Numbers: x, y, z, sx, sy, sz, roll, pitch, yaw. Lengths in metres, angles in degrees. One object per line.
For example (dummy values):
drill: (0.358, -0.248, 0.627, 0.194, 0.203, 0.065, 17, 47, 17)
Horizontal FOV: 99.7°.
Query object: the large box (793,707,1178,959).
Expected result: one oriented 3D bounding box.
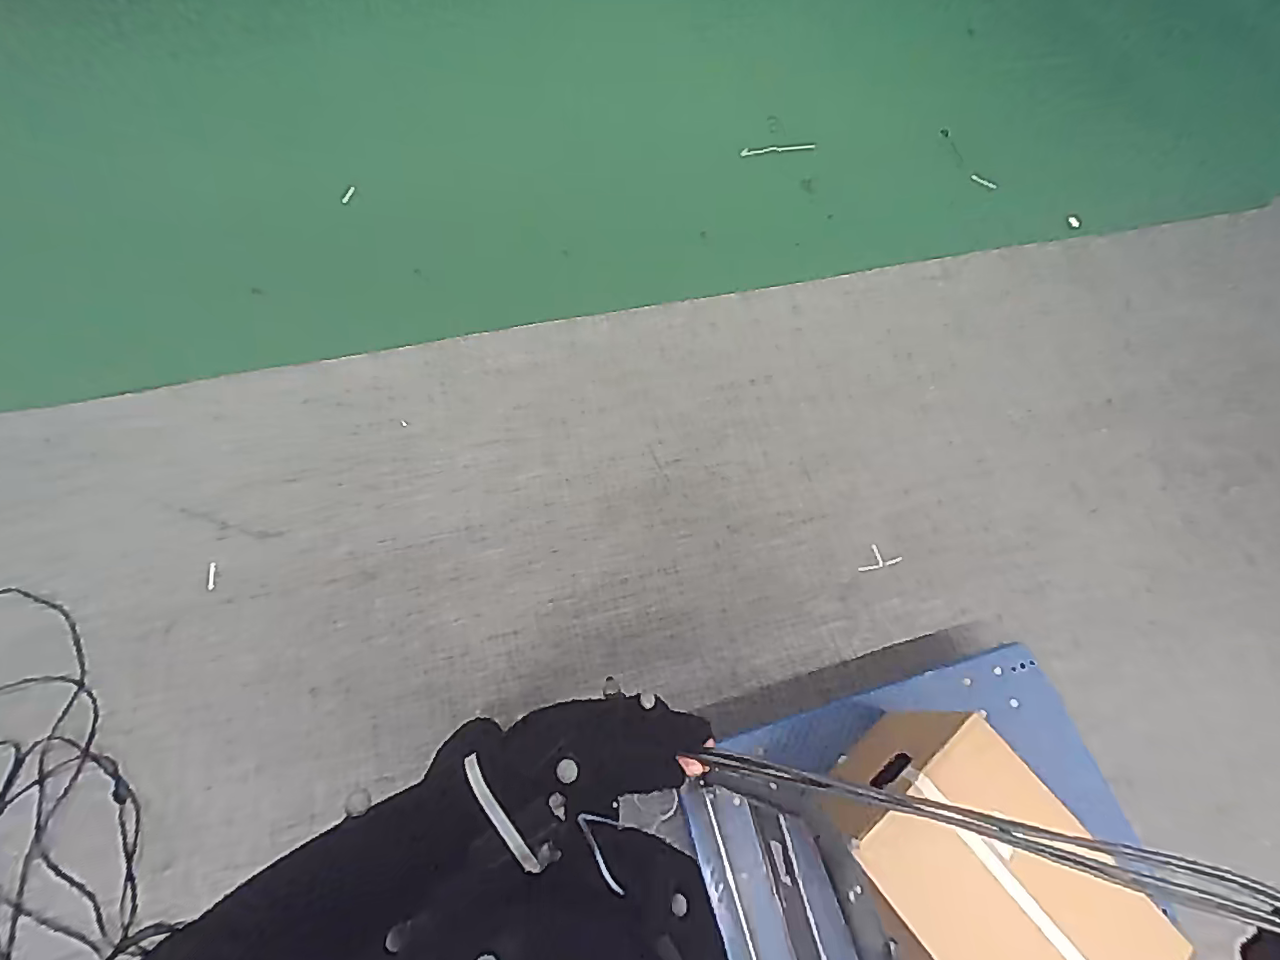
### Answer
large box: (0.550, 0.664, 0.947, 0.320, 0.320, 0.408, -34, 72, -16)
